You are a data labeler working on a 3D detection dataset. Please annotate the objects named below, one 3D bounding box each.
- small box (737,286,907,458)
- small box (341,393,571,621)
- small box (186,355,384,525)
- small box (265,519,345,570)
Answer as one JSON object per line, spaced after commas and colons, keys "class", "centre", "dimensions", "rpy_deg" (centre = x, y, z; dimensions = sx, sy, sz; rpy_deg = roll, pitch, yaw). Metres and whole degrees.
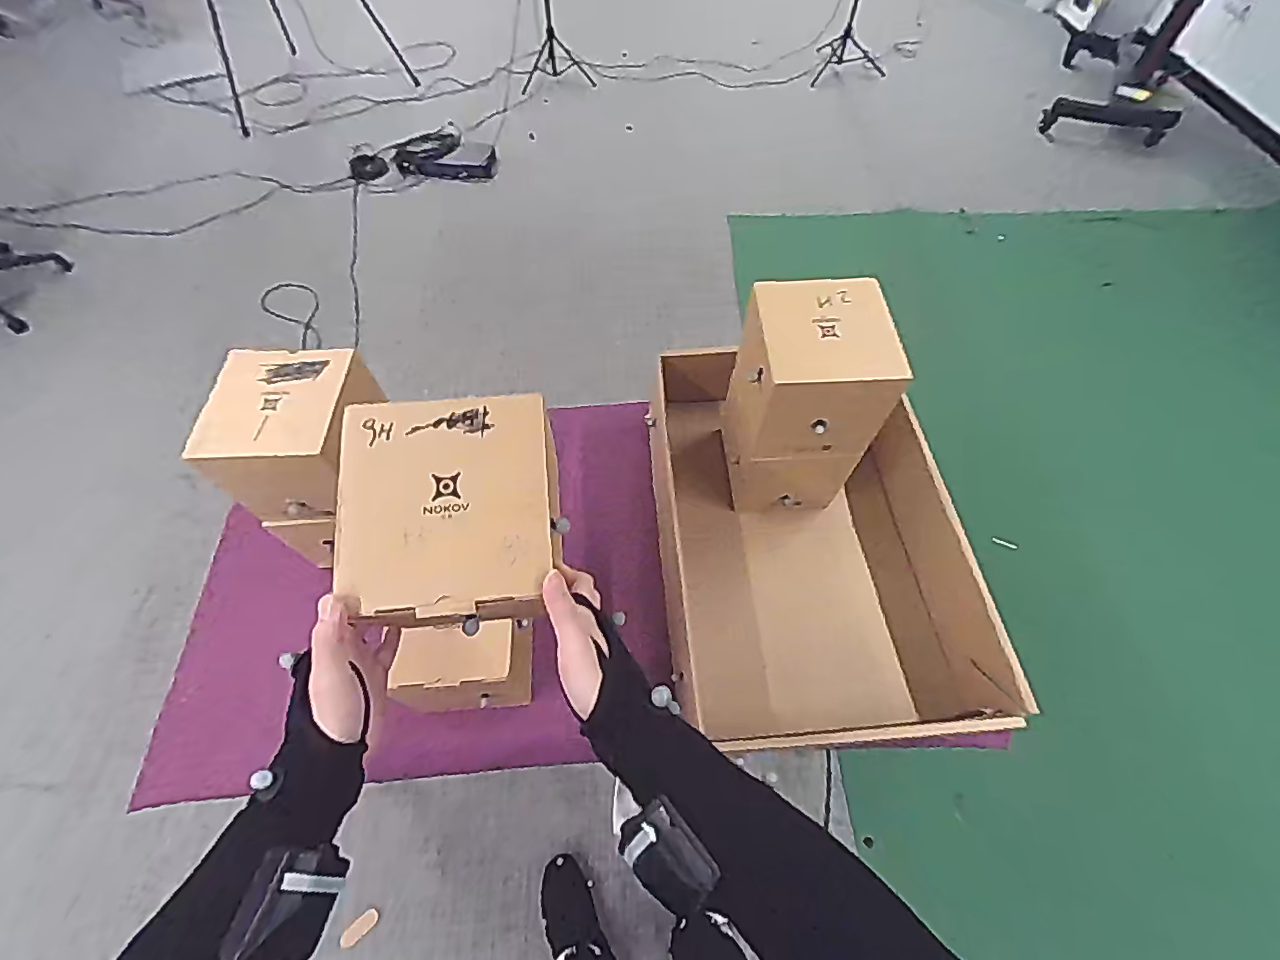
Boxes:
{"class": "small box", "centre": [0.234, -0.140, 0.745], "dimensions": [0.168, 0.176, 0.179], "rpy_deg": [-2, 59, -1]}
{"class": "small box", "centre": [-0.154, 0.037, 0.505], "dimensions": [0.168, 0.176, 0.179], "rpy_deg": [-4, 73, -6]}
{"class": "small box", "centre": [-0.457, -0.052, 0.750], "dimensions": [0.168, 0.176, 0.179], "rpy_deg": [-1, 58, -1]}
{"class": "small box", "centre": [-0.465, 0.038, 0.887], "dimensions": [0.168, 0.176, 0.179], "rpy_deg": [-5, 57, -3]}
